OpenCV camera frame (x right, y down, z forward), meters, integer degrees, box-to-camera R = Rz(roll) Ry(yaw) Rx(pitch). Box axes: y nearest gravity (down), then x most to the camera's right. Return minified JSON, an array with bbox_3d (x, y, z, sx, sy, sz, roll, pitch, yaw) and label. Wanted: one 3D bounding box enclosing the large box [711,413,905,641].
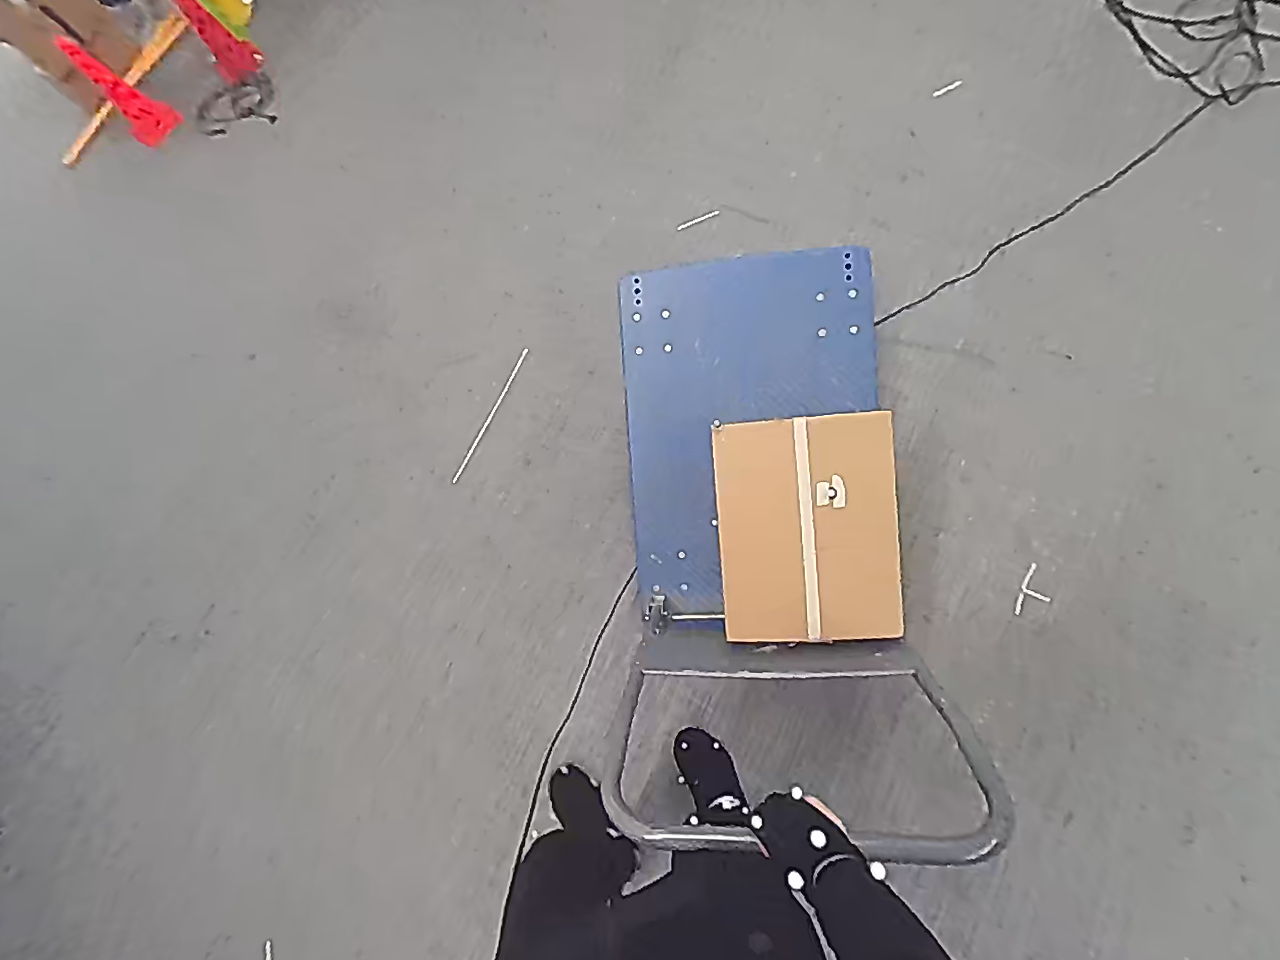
[{"bbox_3d":[0.328,0.086,1.129,0.320,0.320,0.408,-5,92,9],"label":"large box"}]
